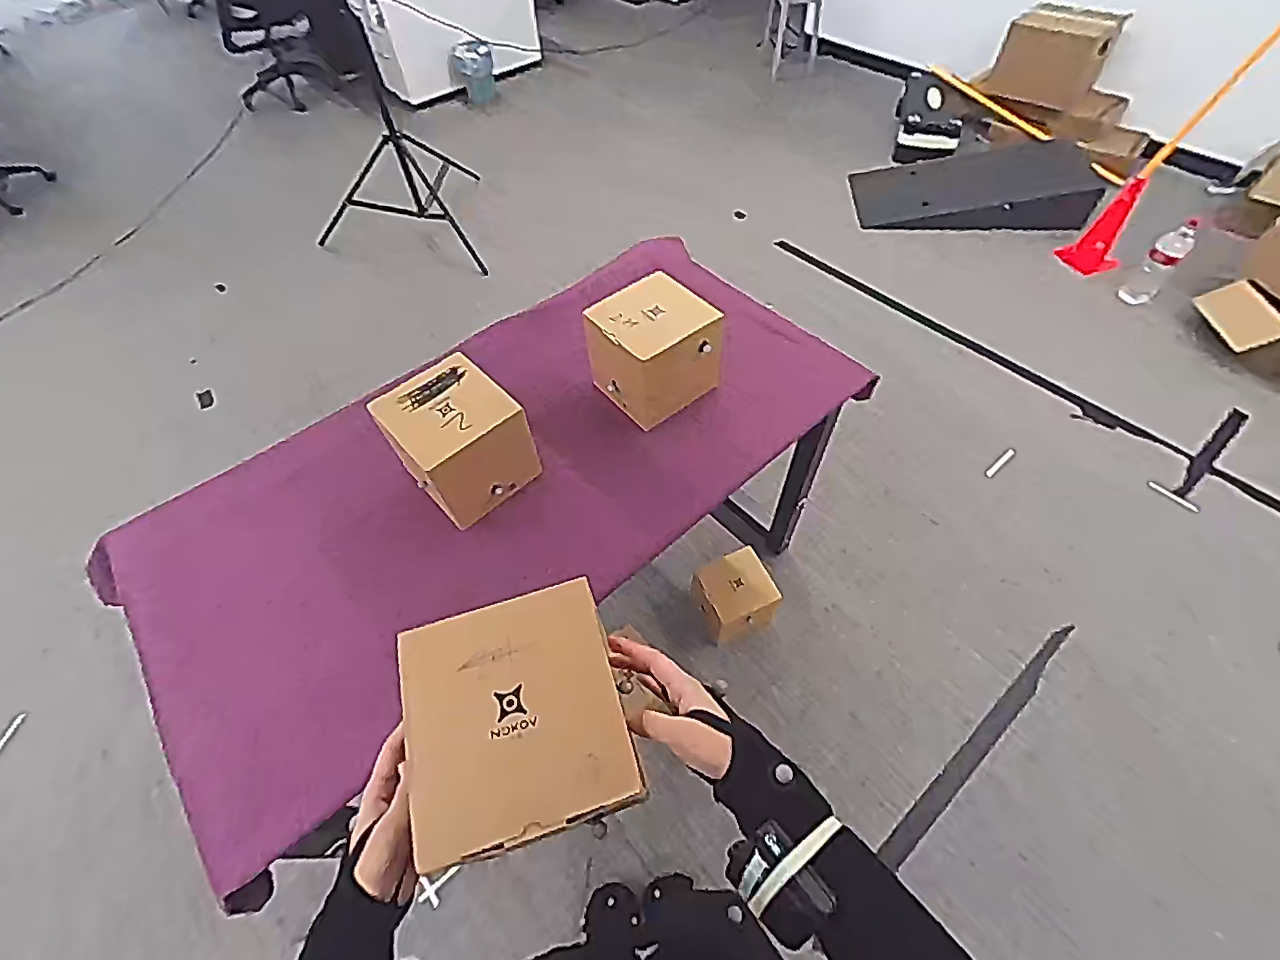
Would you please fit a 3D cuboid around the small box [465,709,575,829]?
[{"bbox_3d":[-0.270,0.668,1.243,0.168,0.176,0.179,-35,59,-19],"label":"small box"}]

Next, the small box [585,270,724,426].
[{"bbox_3d":[0.024,-0.232,0.959,0.179,0.176,0.168,-35,60,-19],"label":"small box"}]

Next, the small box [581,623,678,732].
[{"bbox_3d":[-0.025,0.496,1.348,0.168,0.176,0.179,-37,62,-20],"label":"small box"}]

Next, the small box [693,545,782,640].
[{"bbox_3d":[0.255,0.308,1.464,0.179,0.176,0.168,-22,58,-10],"label":"small box"}]
